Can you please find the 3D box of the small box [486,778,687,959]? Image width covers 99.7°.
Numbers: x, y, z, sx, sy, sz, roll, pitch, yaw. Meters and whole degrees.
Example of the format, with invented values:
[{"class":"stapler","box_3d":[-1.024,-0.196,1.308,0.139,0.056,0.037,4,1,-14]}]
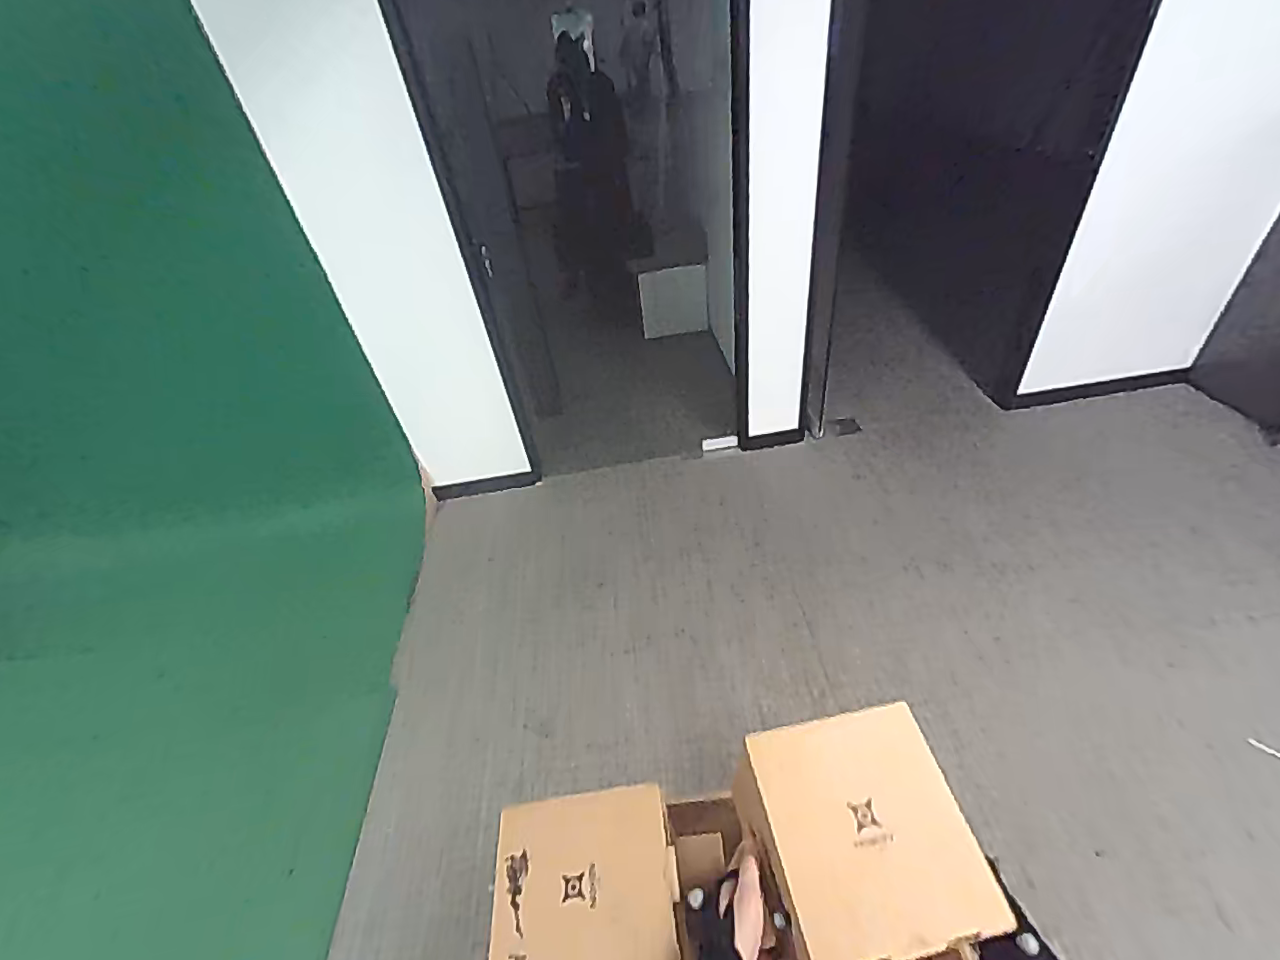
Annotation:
[{"class":"small box","box_3d":[-0.046,0.440,0.564,0.179,0.176,0.168,-8,39,0]}]
